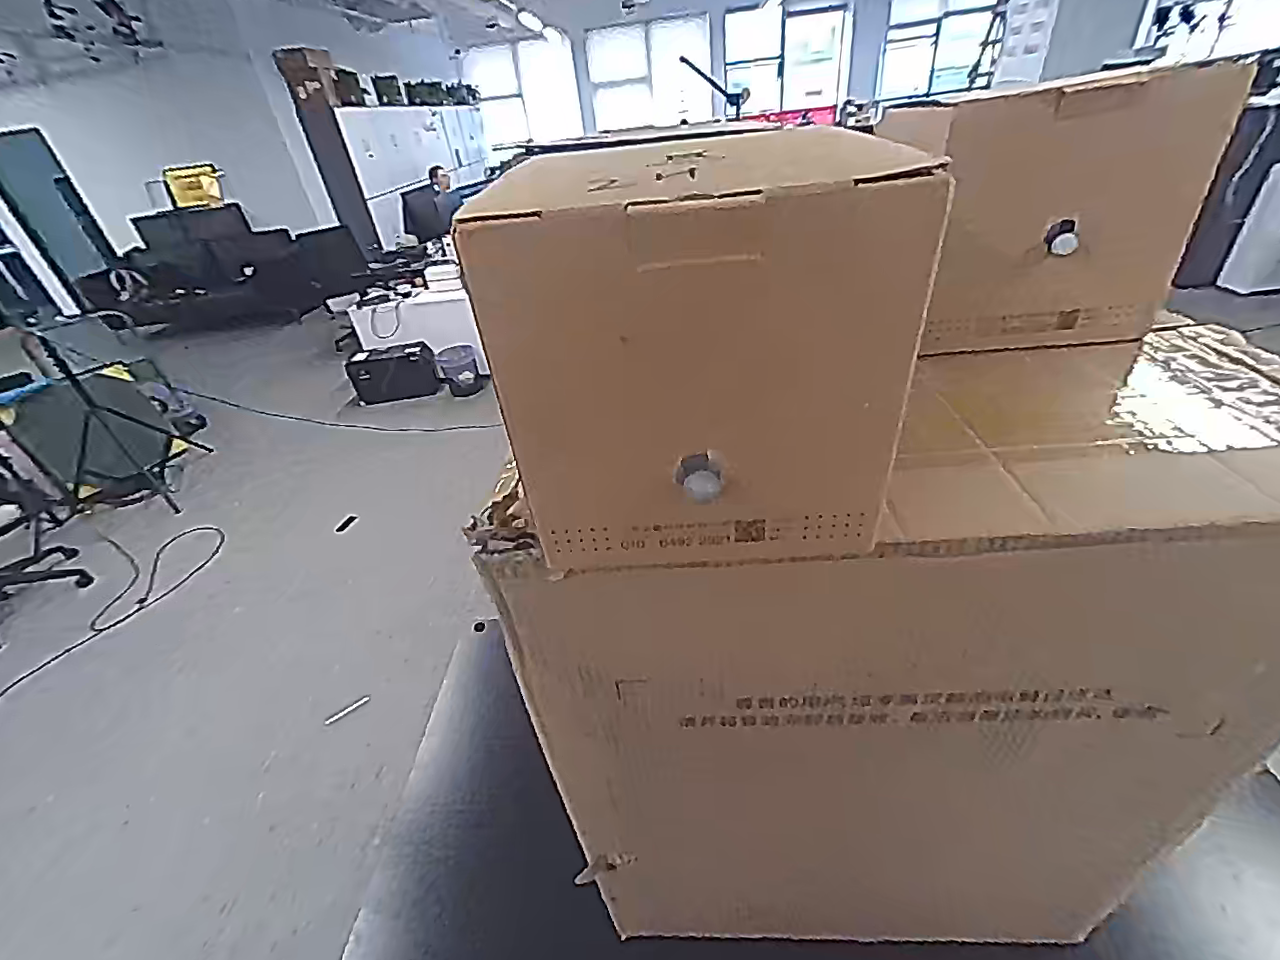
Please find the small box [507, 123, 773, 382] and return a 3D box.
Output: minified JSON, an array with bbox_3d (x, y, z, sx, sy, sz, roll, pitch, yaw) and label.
[{"bbox_3d":[0.010,-0.189,0.452,0.179,0.176,0.168,-3,34,5],"label":"small box"}]
